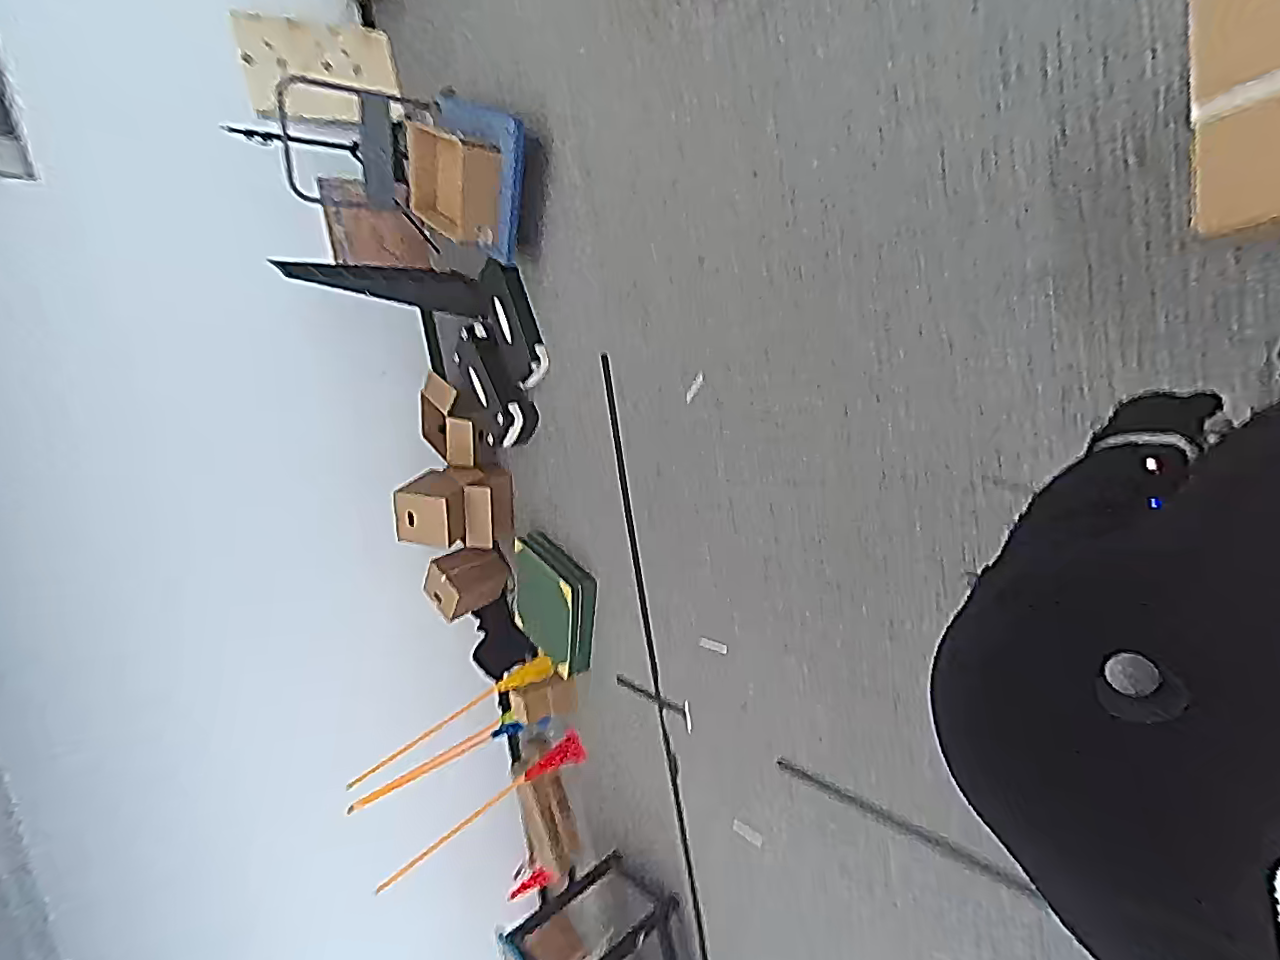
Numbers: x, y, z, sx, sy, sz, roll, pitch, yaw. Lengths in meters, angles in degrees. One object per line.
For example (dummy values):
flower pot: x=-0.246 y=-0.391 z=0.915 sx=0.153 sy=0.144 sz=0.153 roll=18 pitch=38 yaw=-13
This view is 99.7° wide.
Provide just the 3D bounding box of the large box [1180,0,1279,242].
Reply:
large box: x=0.976 y=-0.526 z=0.668 sx=0.408 sy=0.320 sz=0.320 roll=1 pitch=103 yaw=52
